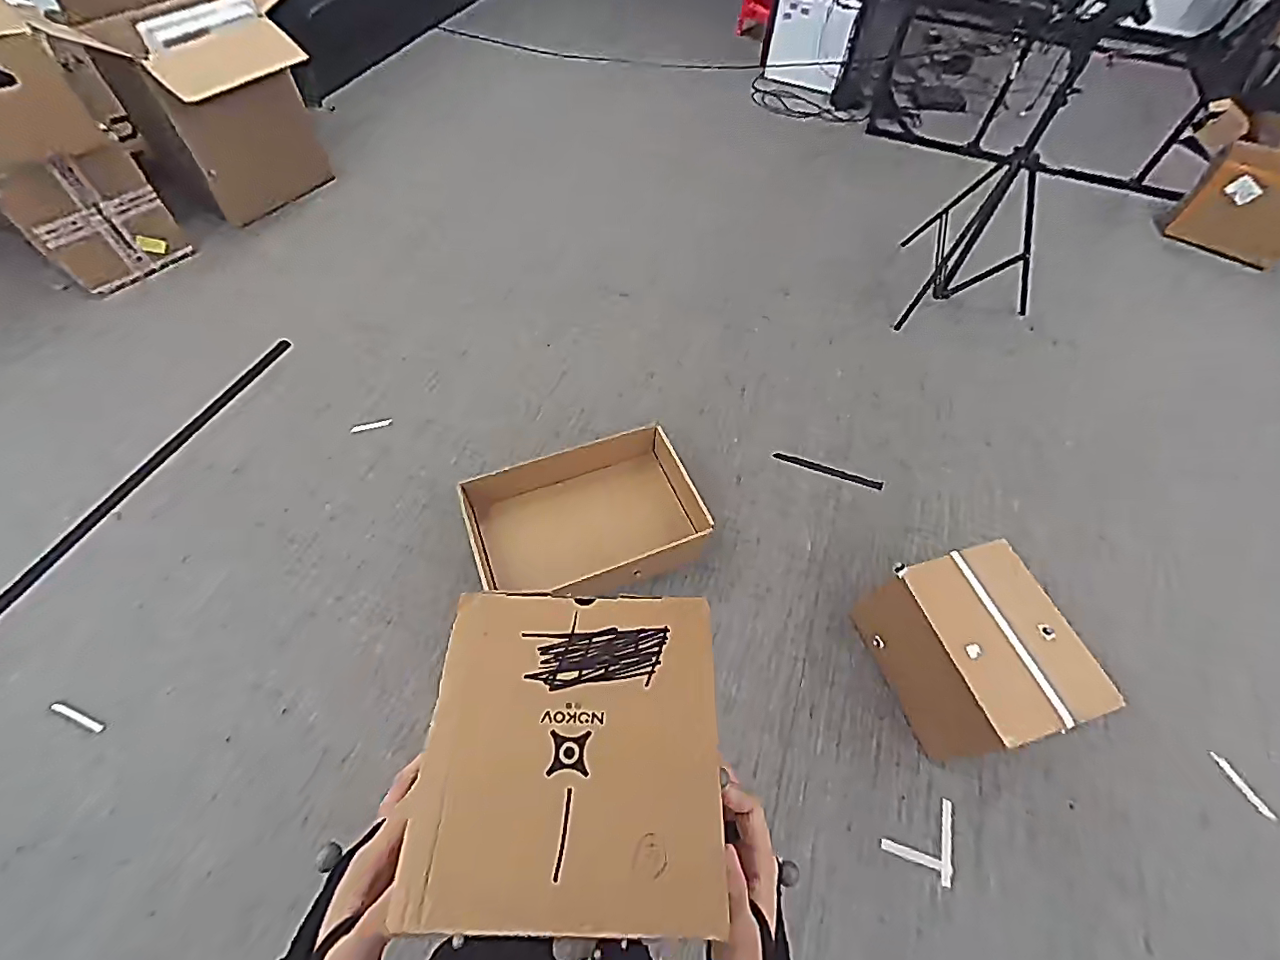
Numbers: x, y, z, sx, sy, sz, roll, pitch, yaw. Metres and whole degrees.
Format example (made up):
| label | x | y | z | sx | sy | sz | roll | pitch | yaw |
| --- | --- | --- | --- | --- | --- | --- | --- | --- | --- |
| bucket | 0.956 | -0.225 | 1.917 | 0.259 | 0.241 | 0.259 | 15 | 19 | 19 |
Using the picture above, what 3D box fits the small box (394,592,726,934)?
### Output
| label | x | y | z | sx | sy | sz | roll | pitch | yaw |
| --- | --- | --- | --- | --- | --- | --- | --- | --- | --- |
| small box | -0.038 | 0.194 | 0.374 | 0.168 | 0.176 | 0.179 | 1 | 54 | 0 |
